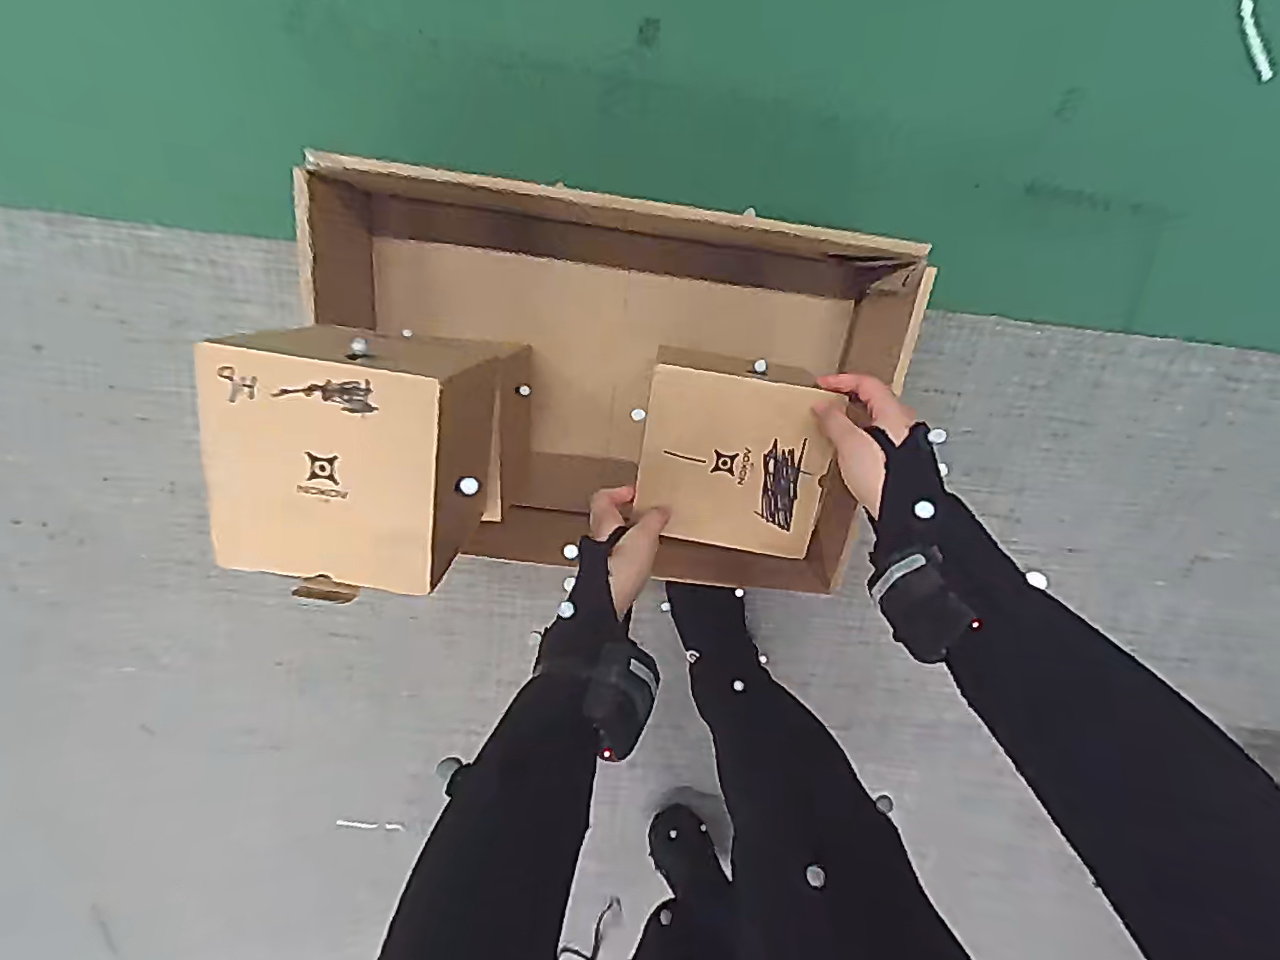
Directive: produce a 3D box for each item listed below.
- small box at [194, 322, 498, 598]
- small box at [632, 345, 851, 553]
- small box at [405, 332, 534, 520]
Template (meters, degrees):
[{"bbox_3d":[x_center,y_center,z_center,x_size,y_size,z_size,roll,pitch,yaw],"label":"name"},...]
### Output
[{"bbox_3d":[-0.226,-0.028,0.463,0.168,0.176,0.179,9,110,-4],"label":"small box"},{"bbox_3d":[0.094,-0.044,0.578,0.179,0.176,0.168,9,111,0],"label":"small box"},{"bbox_3d":[-0.219,-0.071,0.622,0.168,0.176,0.179,4,111,-2],"label":"small box"}]
